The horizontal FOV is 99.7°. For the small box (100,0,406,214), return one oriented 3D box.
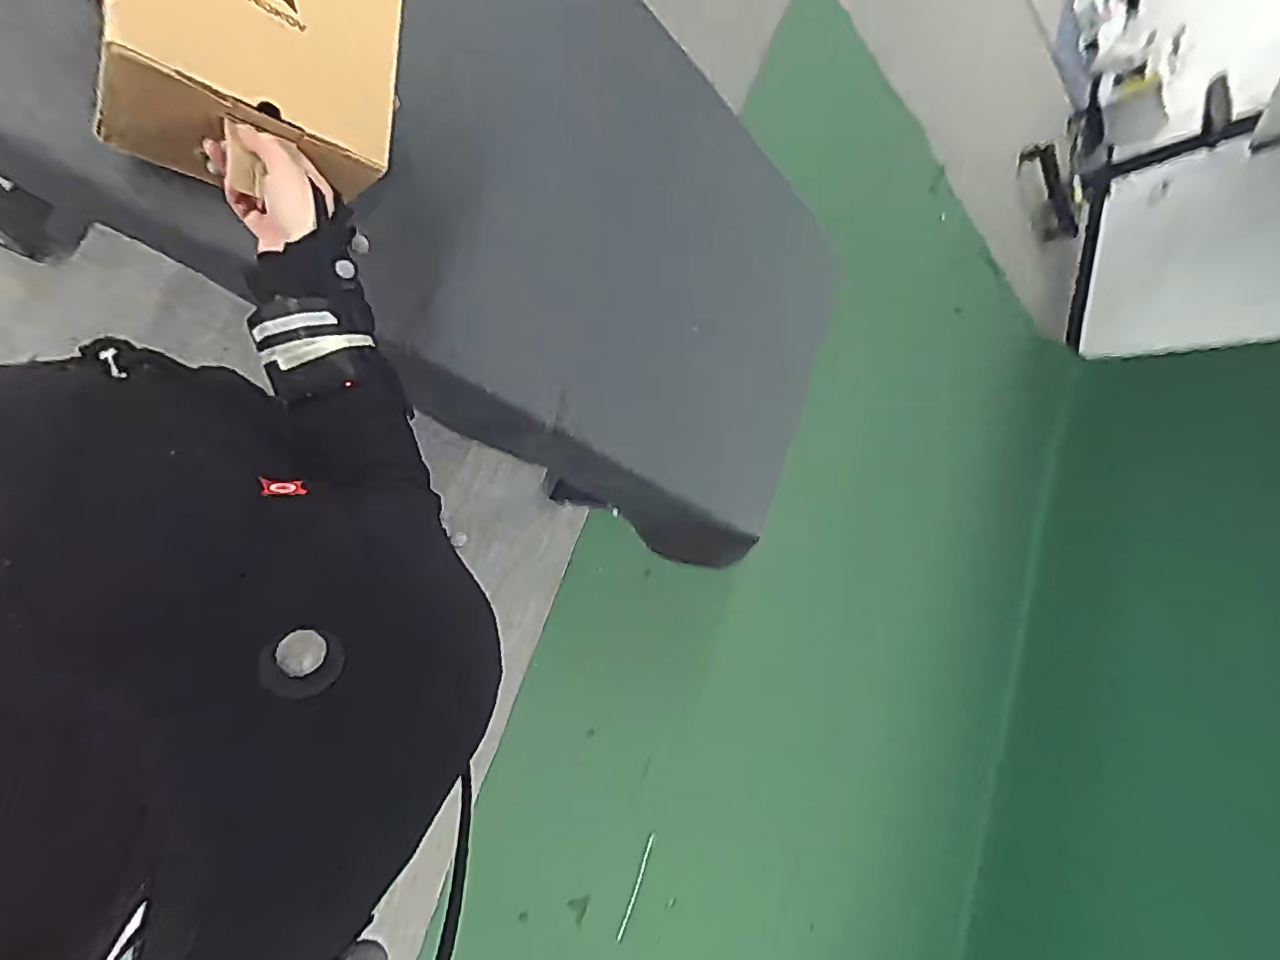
[{"bbox_3d":[-0.310,-0.347,0.434,0.168,0.176,0.179,4,93,-47],"label":"small box"}]
